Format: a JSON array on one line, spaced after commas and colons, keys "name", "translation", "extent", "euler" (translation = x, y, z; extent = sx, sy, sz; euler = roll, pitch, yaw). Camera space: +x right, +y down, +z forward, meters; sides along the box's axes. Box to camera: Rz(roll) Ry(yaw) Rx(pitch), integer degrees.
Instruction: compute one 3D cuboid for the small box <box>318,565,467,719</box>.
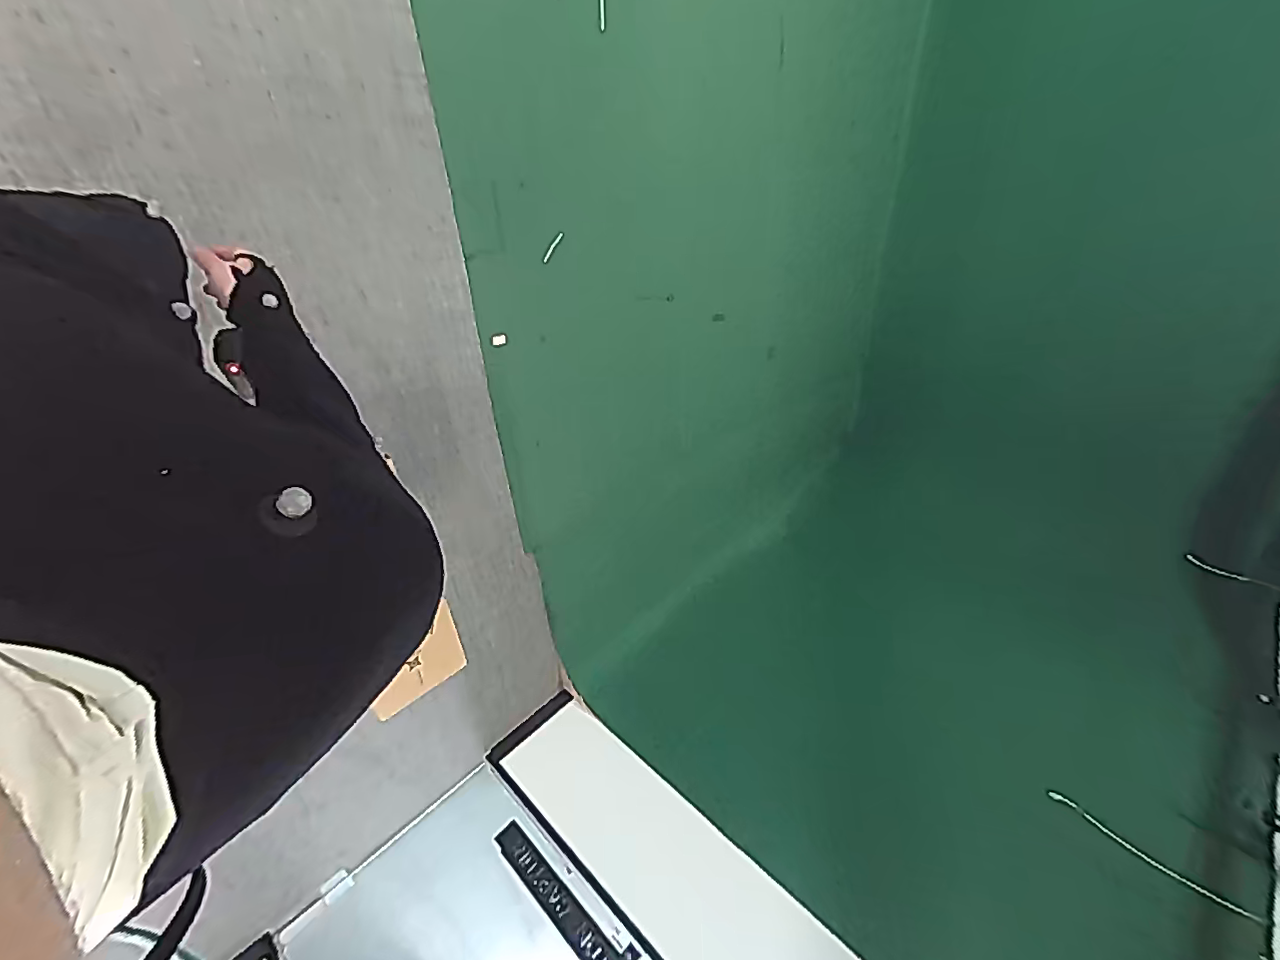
[{"name": "small box", "translation": [-0.439, 0.273, 0.963], "extent": [0.168, 0.176, 0.179], "euler": [-30, 132, -35]}]
